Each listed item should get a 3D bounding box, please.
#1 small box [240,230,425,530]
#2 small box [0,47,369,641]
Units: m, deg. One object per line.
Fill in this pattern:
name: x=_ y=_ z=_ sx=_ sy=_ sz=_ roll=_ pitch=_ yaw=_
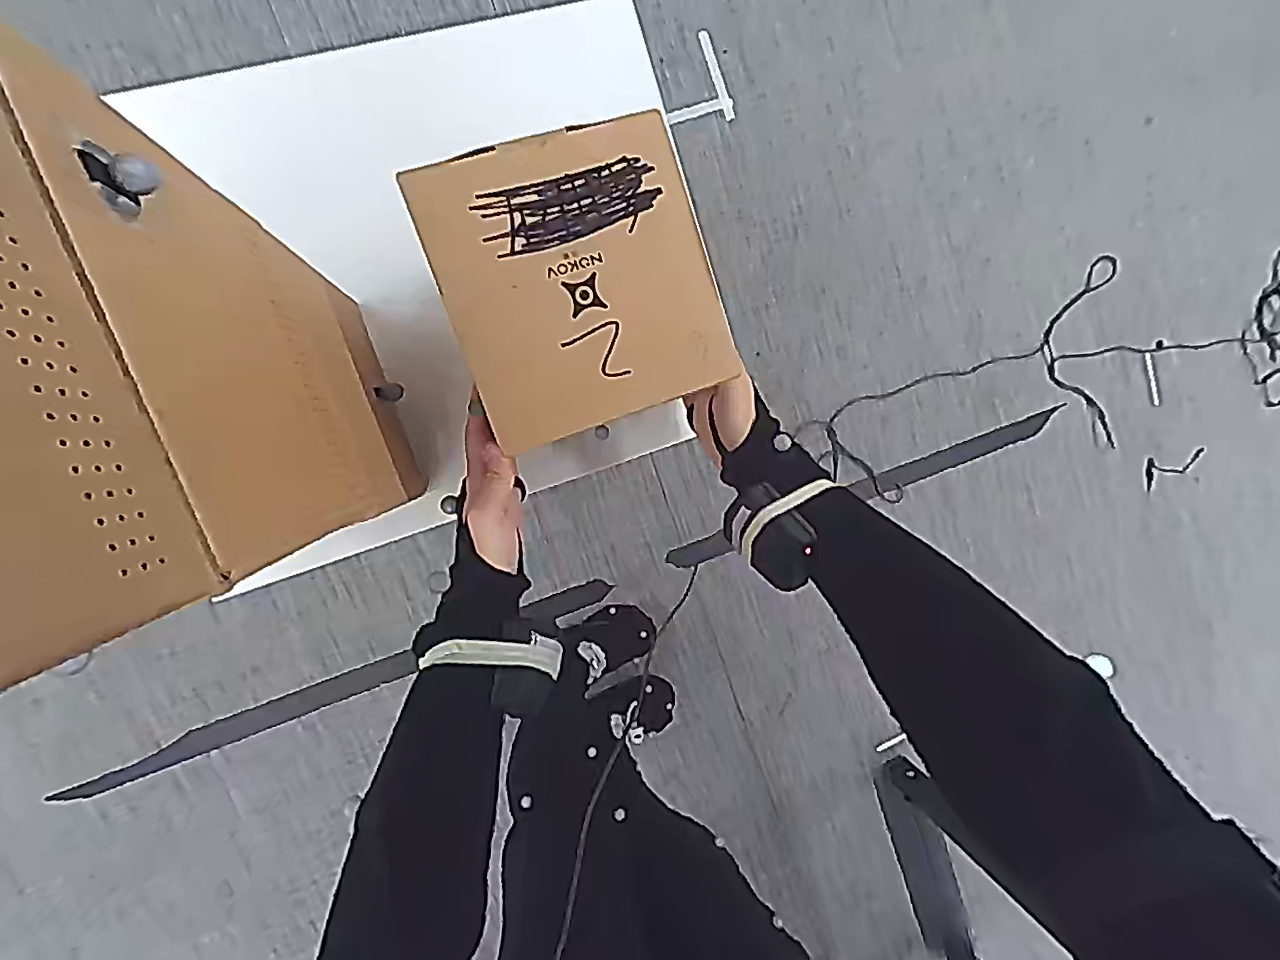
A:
small box: x=-0.270 y=-0.036 z=0.372 sx=0.168 sy=0.176 sz=0.179 roll=-19 pitch=96 yaw=-8
small box: x=-0.238 y=-0.025 z=0.213 sx=0.168 sy=0.176 sz=0.179 roll=-20 pitch=97 yaw=-9
